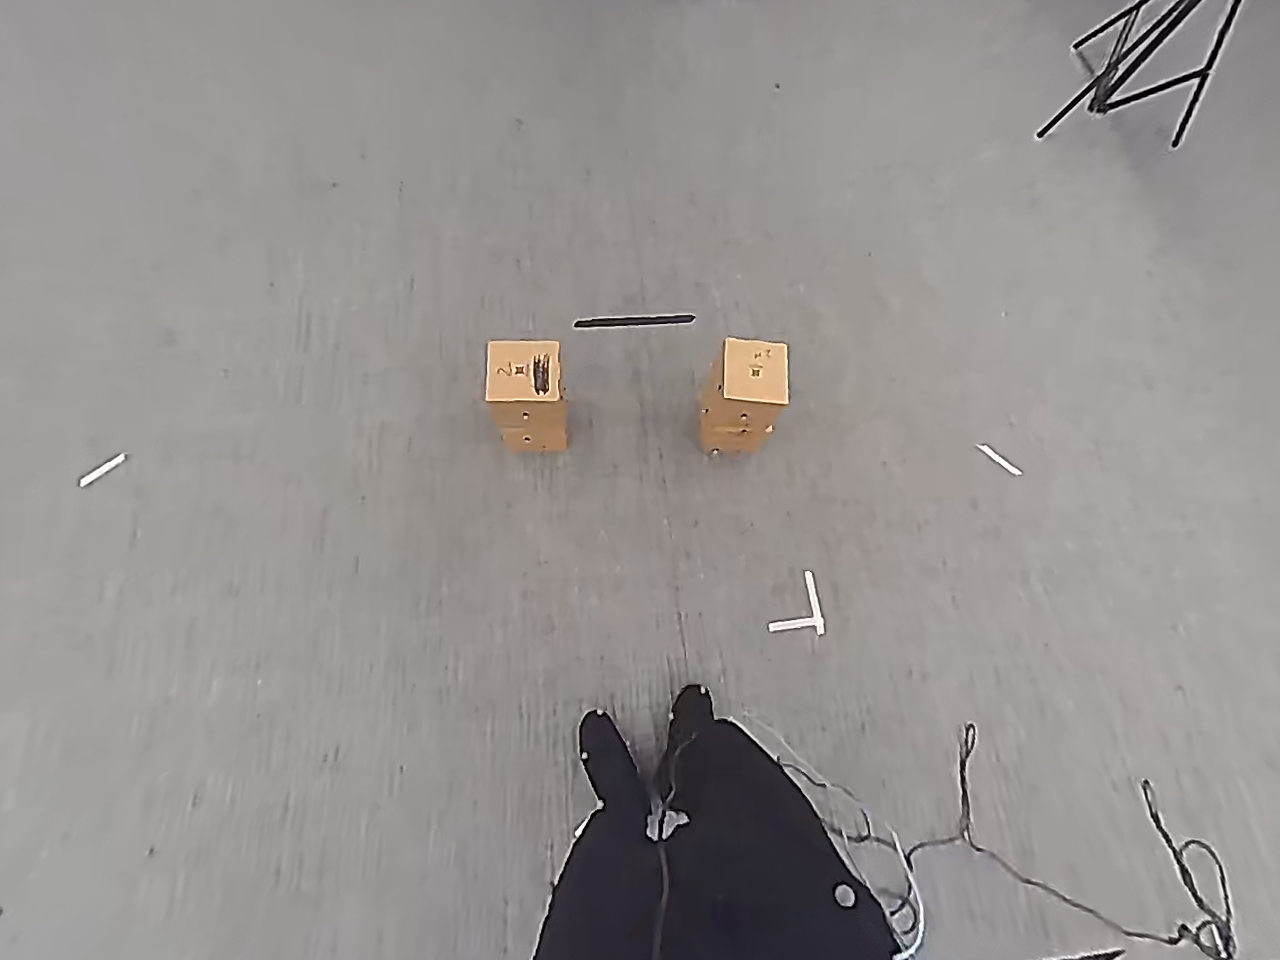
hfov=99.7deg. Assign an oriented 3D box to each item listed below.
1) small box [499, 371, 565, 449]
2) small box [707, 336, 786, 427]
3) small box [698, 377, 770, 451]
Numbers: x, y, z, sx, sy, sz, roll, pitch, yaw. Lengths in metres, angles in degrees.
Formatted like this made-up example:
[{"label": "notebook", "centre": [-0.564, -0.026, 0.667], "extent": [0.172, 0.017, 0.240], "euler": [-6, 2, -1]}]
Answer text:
[{"label": "small box", "centre": [-0.301, -0.192, 1.533], "extent": [0.168, 0.176, 0.179], "euler": [-2, 72, -5]}, {"label": "small box", "centre": [0.278, -0.252, 1.430], "extent": [0.168, 0.176, 0.179], "euler": [6, 72, -5]}, {"label": "small box", "centre": [0.270, -0.192, 1.584], "extent": [0.168, 0.176, 0.179], "euler": [0, 72, -6]}]
